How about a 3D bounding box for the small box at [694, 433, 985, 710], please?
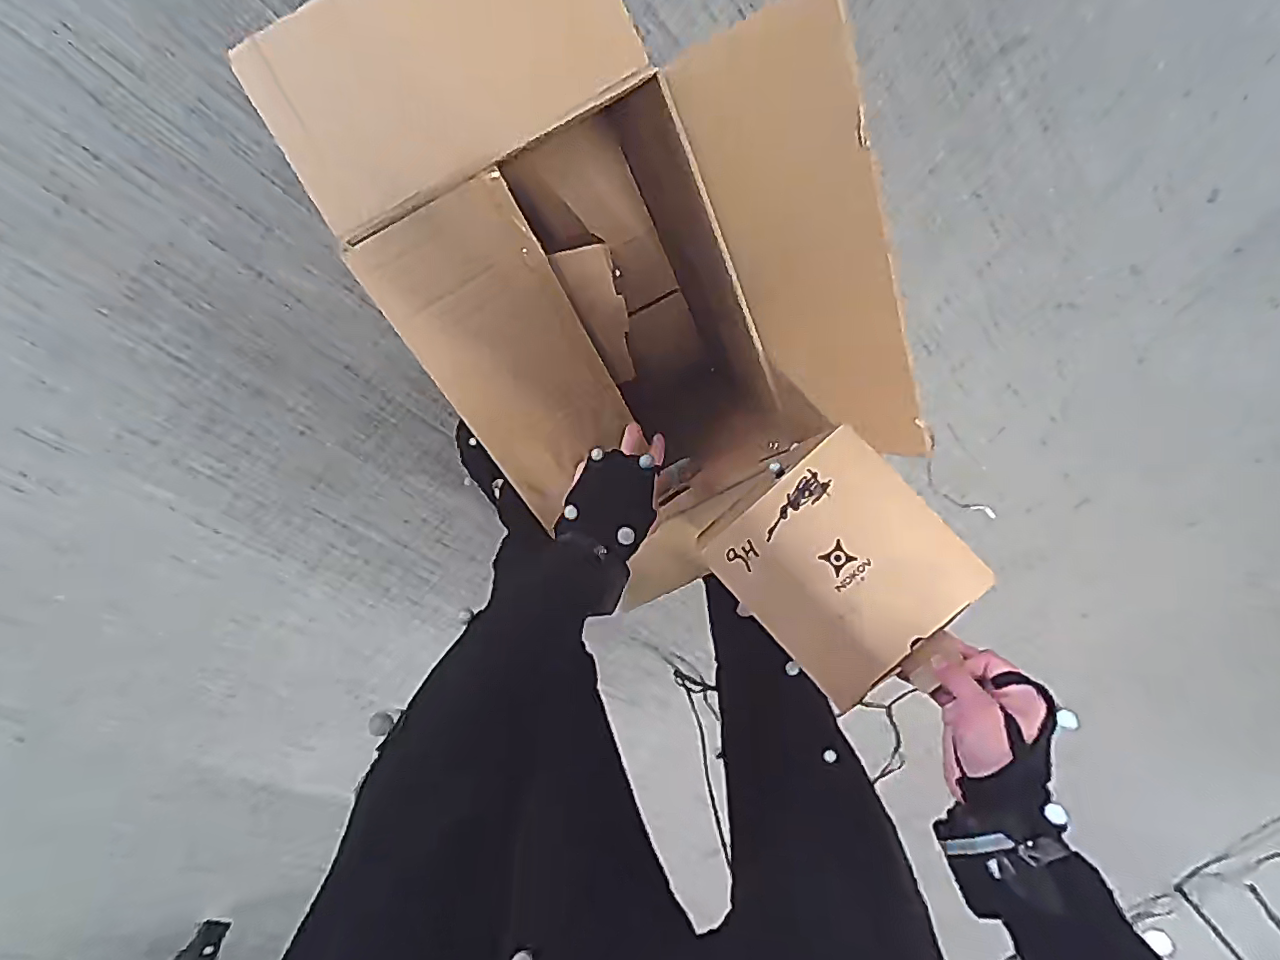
[{"bbox_3d":[0.172,0.076,0.526,0.179,0.176,0.168,45,94,6],"label":"small box"}]
